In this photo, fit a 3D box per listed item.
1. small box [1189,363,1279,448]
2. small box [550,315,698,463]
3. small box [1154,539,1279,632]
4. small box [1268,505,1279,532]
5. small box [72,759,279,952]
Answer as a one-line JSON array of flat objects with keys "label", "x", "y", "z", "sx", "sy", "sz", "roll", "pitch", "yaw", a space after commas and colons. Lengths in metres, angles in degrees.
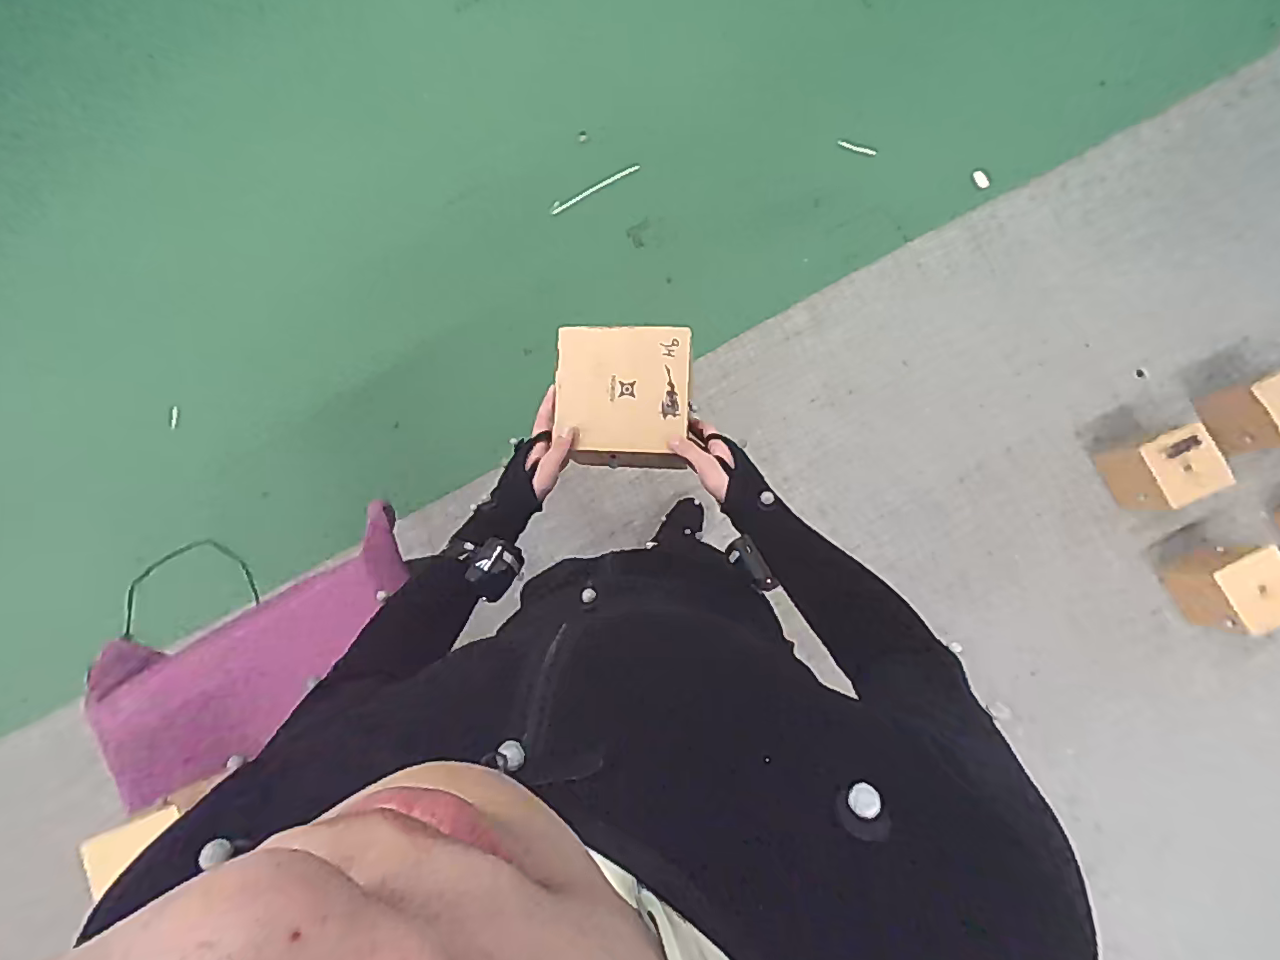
[{"label": "small box", "x": 1.627, "y": -0.195, "z": 1.415, "sx": 0.168, "sy": 0.176, "sz": 0.179, "roll": -28, "pitch": 84, "yaw": 2}, {"label": "small box", "x": -0.012, "y": -0.118, "z": 0.759, "sx": 0.179, "sy": 0.176, "sz": 0.168, "roll": 4, "pitch": 85, "yaw": 7}, {"label": "small box", "x": 1.509, "y": 0.265, "z": 1.397, "sx": 0.168, "sy": 0.176, "sz": 0.179, "roll": -29, "pitch": 85, "yaw": 3}, {"label": "small box", "x": 1.798, "y": 0.117, "z": 1.376, "sx": 0.168, "sy": 0.176, "sz": 0.179, "roll": -29, "pitch": 84, "yaw": 3}, {"label": "small box", "x": -0.718, "y": 0.579, "z": 0.861, "sx": 0.179, "sy": 0.176, "sz": 0.168, "roll": -23, "pitch": 85, "yaw": 4}]
